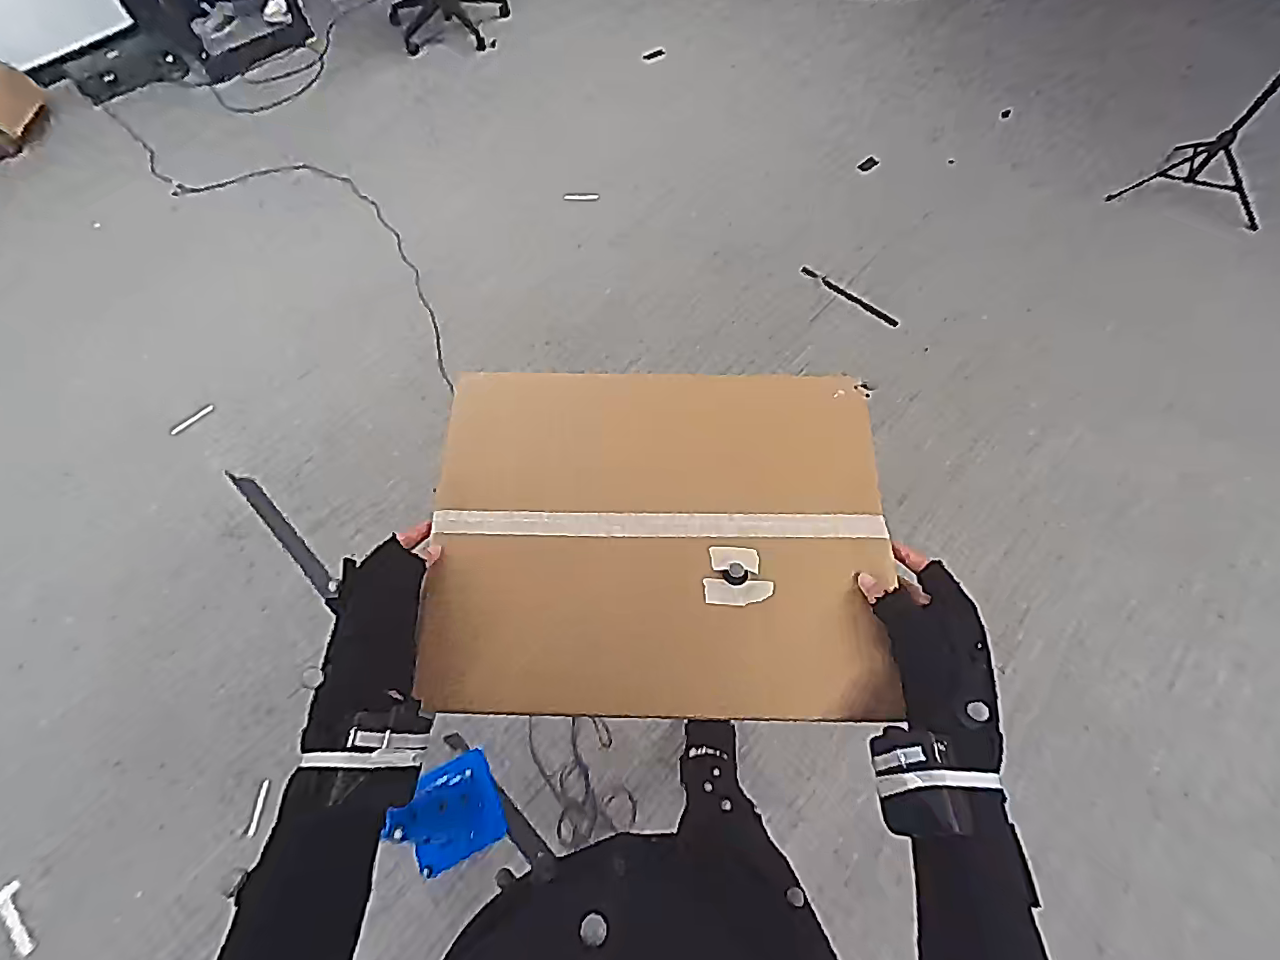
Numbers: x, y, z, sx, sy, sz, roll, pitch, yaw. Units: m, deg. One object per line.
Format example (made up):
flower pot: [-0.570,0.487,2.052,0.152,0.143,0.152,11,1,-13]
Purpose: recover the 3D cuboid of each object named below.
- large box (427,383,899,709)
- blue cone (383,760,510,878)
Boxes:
large box: [0.020,0.100,0.642,0.408,0.320,0.320,1,68,1]
blue cone: [-0.416,0.686,1.085,0.193,0.380,0.192,-24,64,-9]
